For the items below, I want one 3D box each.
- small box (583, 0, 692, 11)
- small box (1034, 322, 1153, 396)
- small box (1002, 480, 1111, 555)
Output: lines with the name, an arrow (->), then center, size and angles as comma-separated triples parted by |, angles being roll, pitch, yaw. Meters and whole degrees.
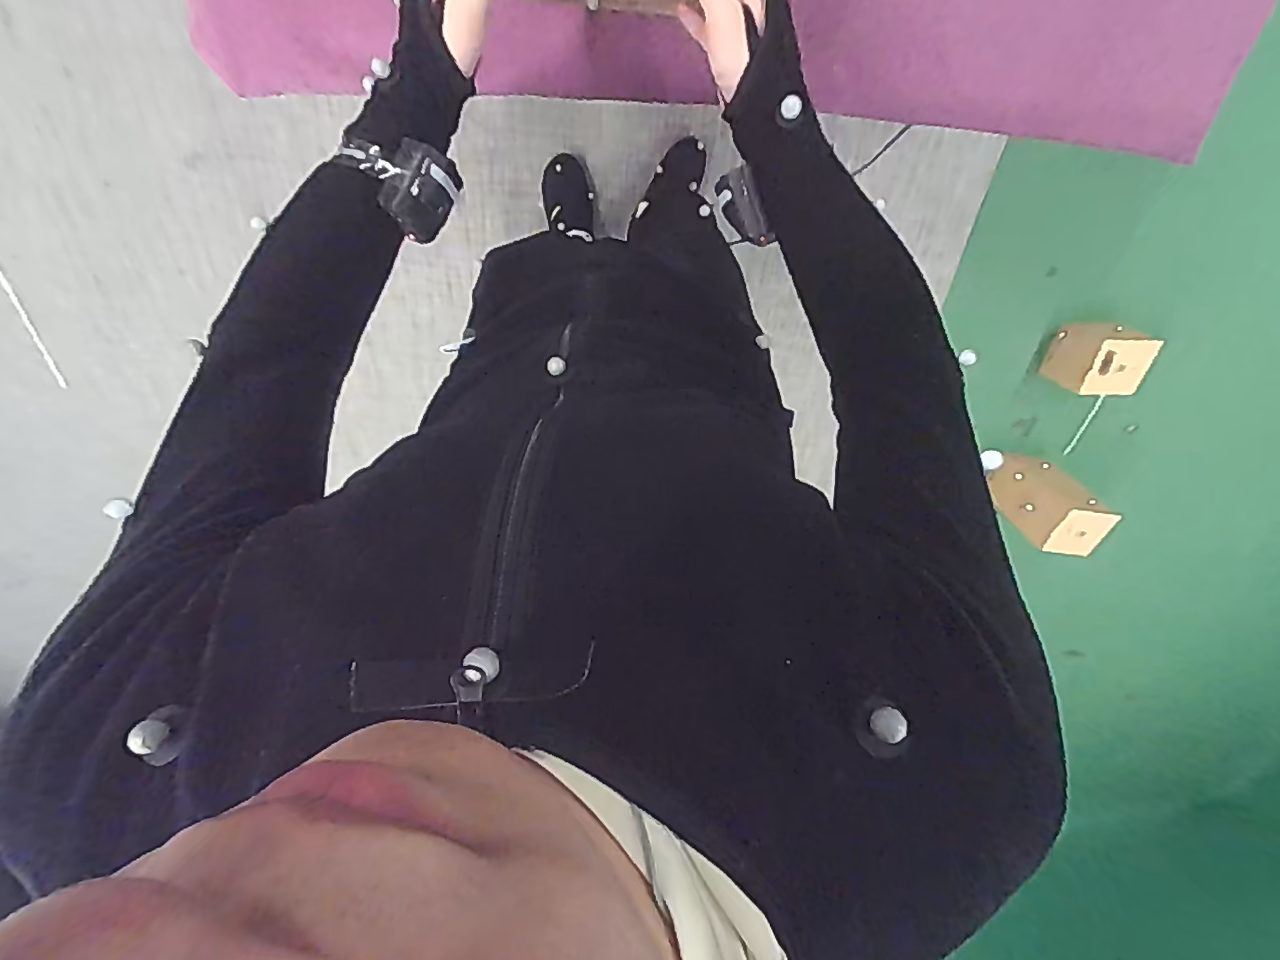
small box -> -0.022, -0.491, 0.410 | 0.168, 0.176, 0.179 | 1, 124, -5
small box -> 1.325, -0.359, 1.598 | 0.179, 0.176, 0.168 | 0, 124, -5
small box -> 1.316, 0.116, 1.721 | 0.179, 0.176, 0.168 | 8, 123, -9
